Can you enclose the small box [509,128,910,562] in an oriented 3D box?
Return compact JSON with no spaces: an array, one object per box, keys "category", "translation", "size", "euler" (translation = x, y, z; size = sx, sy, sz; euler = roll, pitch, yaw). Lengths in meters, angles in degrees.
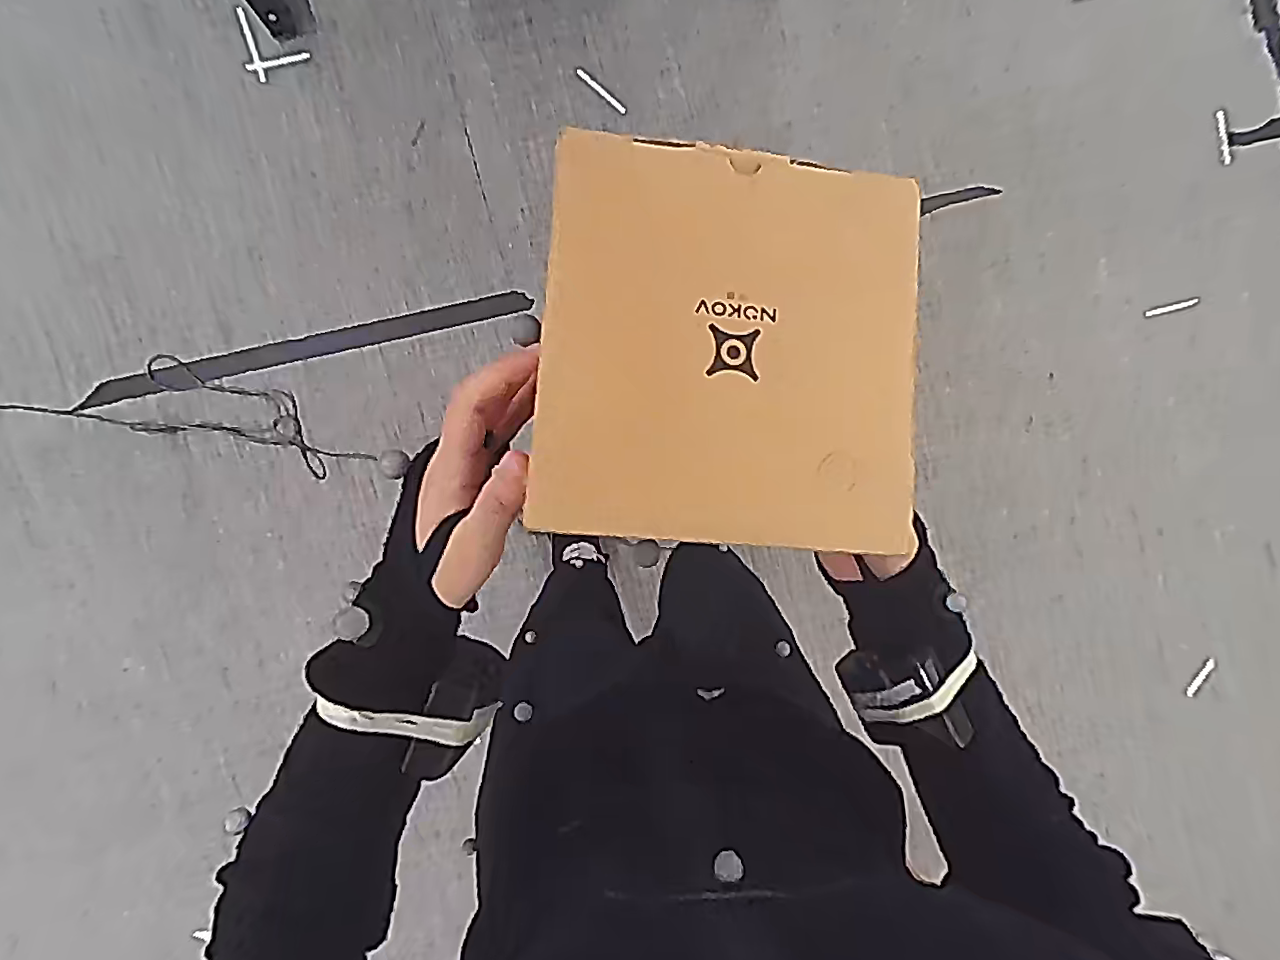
[{"category":"small box","translation":[0.027,-0.050,0.310],"size":[0.168,0.176,0.179],"euler":[5,83,-7]}]
